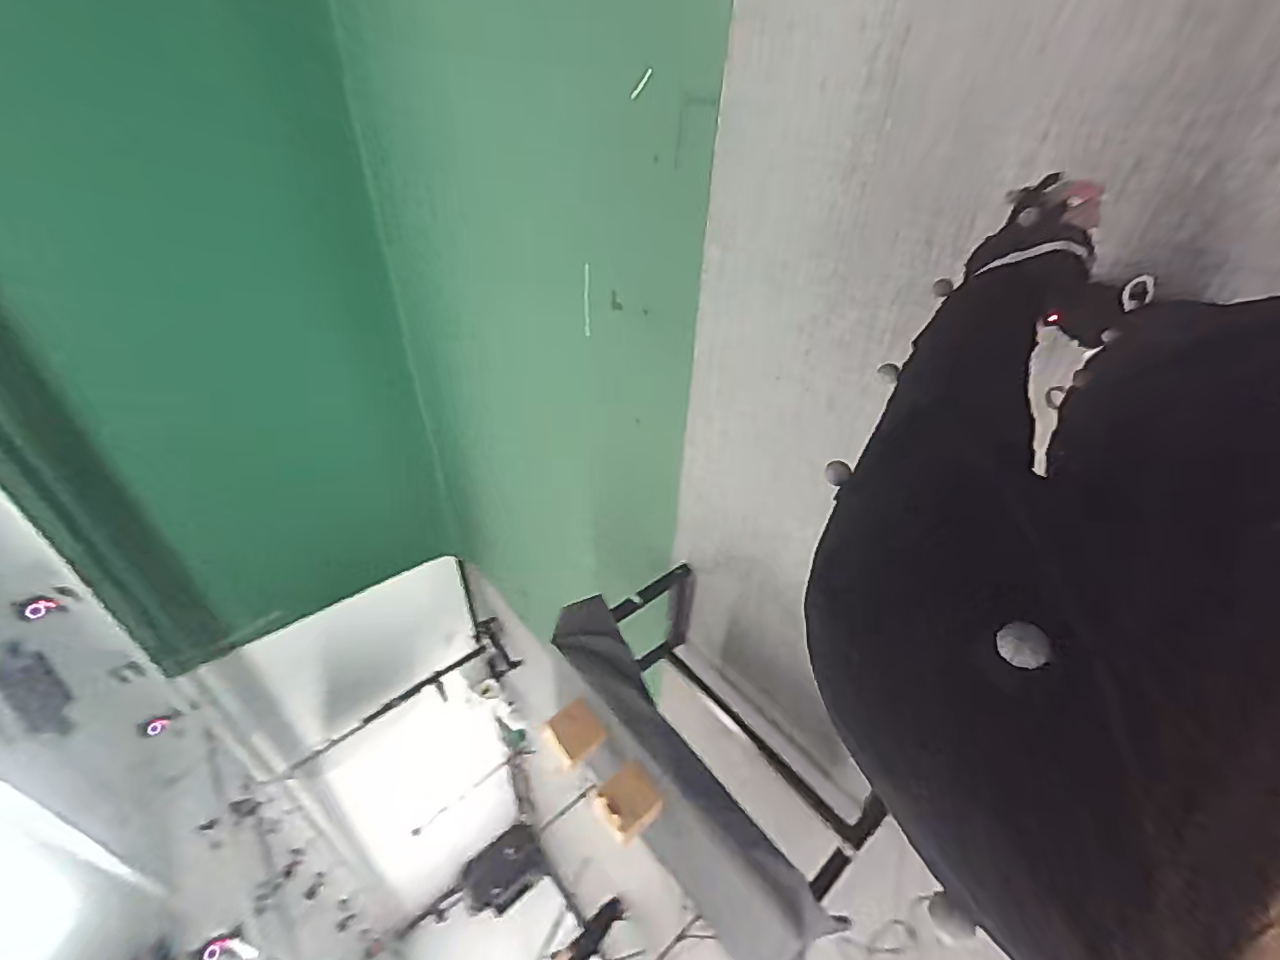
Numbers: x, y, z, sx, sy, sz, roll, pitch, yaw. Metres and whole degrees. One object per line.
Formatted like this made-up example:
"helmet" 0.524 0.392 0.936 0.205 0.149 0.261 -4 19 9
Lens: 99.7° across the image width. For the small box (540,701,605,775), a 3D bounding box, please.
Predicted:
"small box" -0.258 0.963 2.037 0.179 0.176 0.168 46 144 24
